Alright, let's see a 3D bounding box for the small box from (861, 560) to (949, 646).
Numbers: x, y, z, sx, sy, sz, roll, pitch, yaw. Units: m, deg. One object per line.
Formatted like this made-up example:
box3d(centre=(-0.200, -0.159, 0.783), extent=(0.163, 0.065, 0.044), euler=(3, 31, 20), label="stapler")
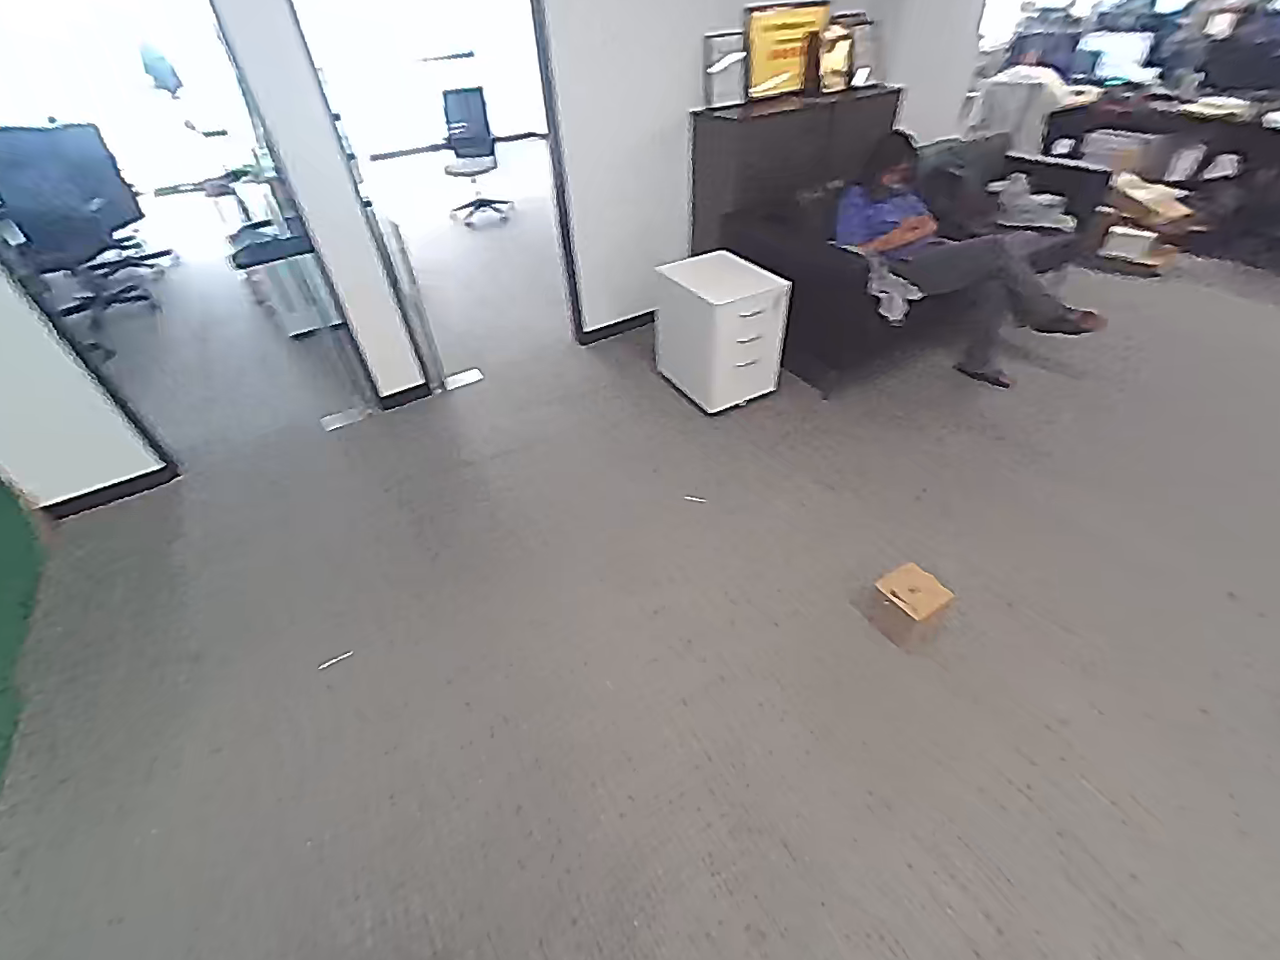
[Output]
box3d(centre=(0.843, 0.394, 1.737), extent=(0.179, 0.176, 0.168), euler=(-22, 44, -21), label="small box")
